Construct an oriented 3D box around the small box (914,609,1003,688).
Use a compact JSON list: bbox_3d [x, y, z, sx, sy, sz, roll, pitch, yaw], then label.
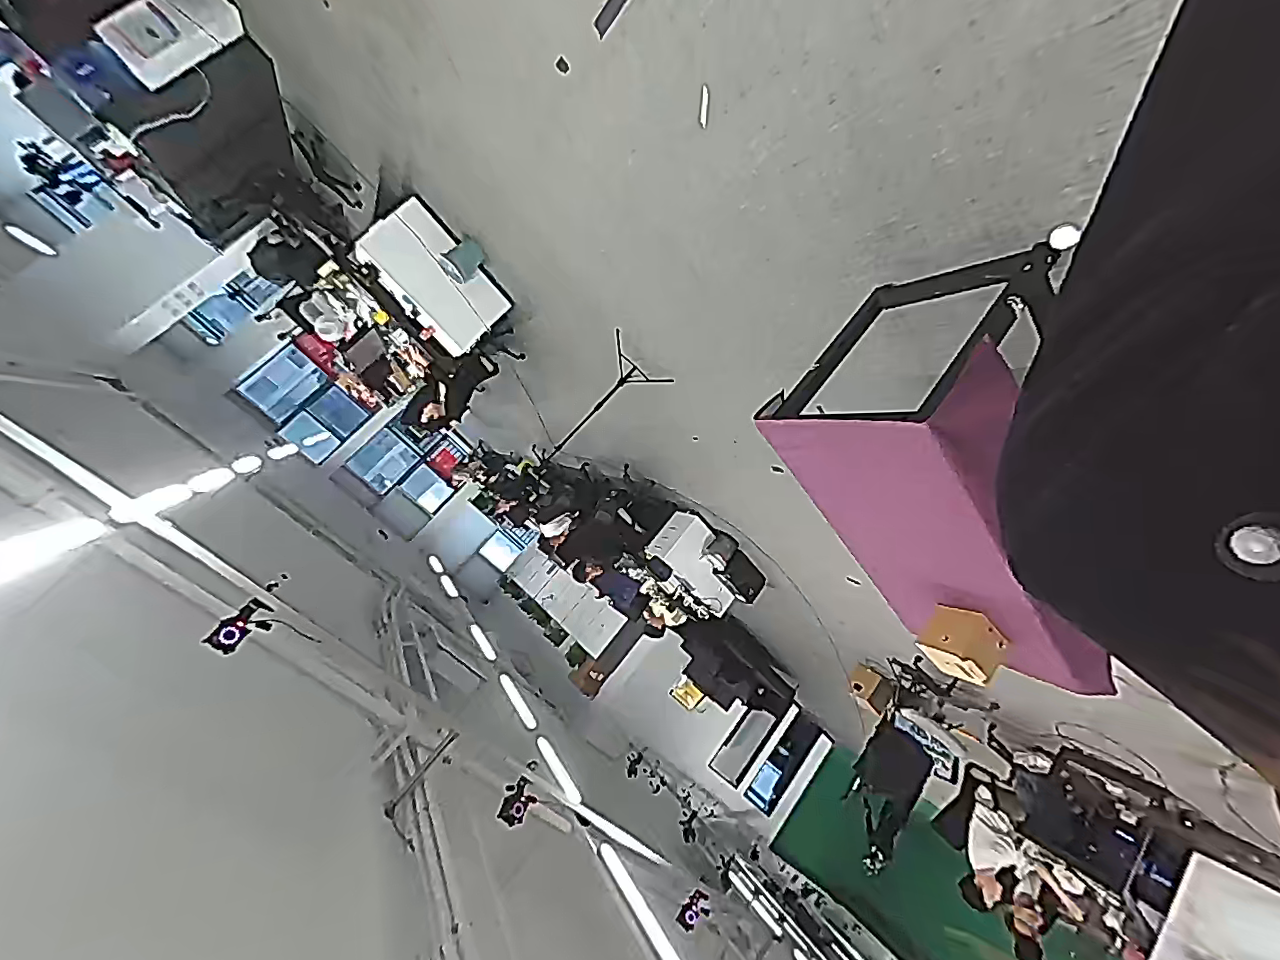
[{"bbox_3d":[1.070,0.553,1.804,0.168,0.176,0.179,45,165,-12],"label":"small box"}]
